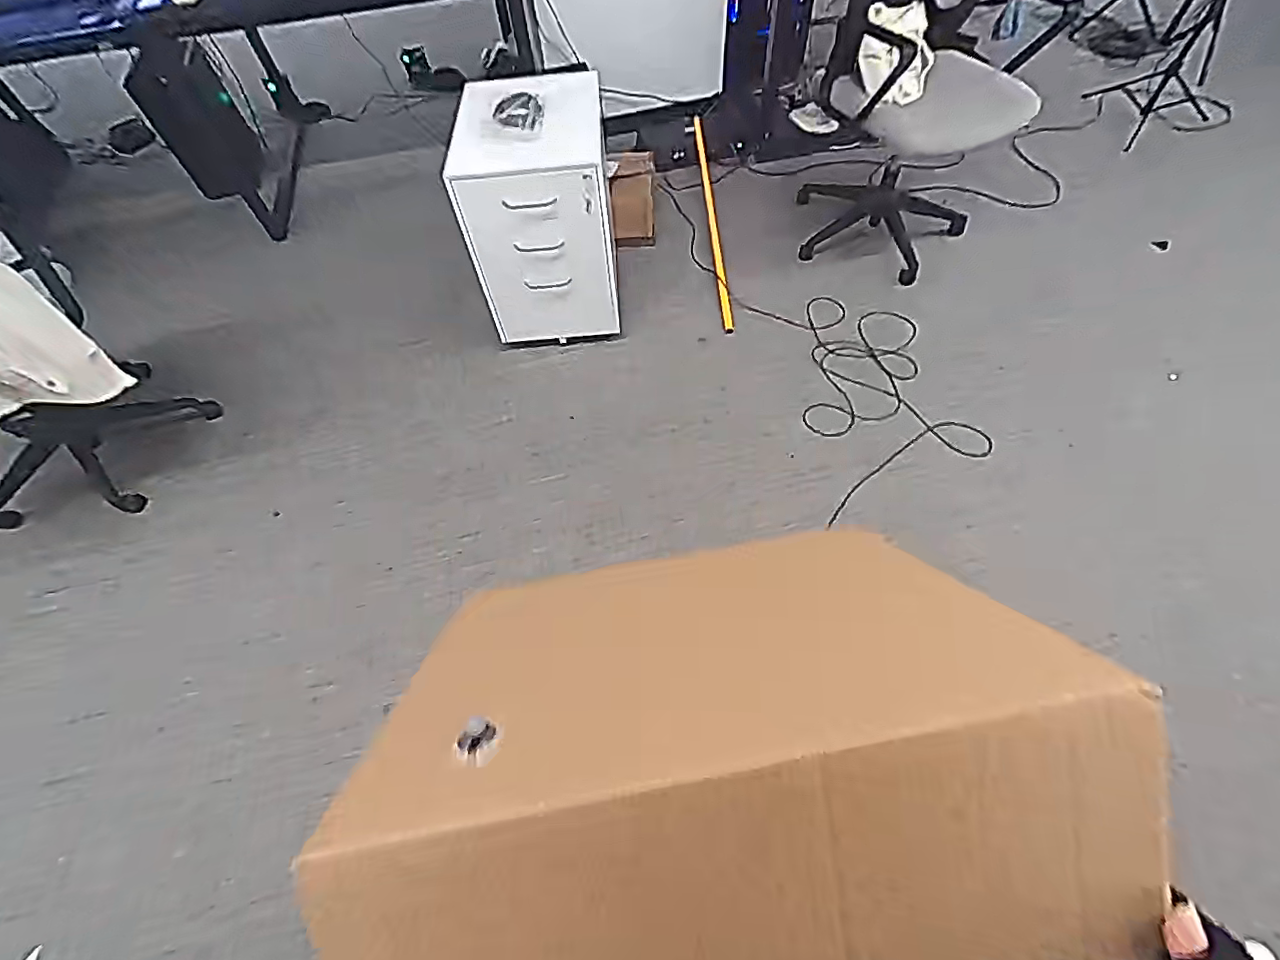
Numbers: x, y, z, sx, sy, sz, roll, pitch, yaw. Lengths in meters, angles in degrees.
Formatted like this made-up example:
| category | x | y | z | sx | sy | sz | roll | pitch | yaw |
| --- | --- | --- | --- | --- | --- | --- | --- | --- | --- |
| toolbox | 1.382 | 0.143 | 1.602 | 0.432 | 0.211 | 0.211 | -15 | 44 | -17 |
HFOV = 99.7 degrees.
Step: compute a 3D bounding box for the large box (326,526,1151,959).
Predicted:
| category | x | y | z | sx | sy | sz | roll | pitch | yaw |
| --- | --- | --- | --- | --- | --- | --- | --- | --- | --- |
| large box | 0.062 | 0.251 | 0.428 | 0.408 | 0.320 | 0.320 | -10 | 102 | -2 |
